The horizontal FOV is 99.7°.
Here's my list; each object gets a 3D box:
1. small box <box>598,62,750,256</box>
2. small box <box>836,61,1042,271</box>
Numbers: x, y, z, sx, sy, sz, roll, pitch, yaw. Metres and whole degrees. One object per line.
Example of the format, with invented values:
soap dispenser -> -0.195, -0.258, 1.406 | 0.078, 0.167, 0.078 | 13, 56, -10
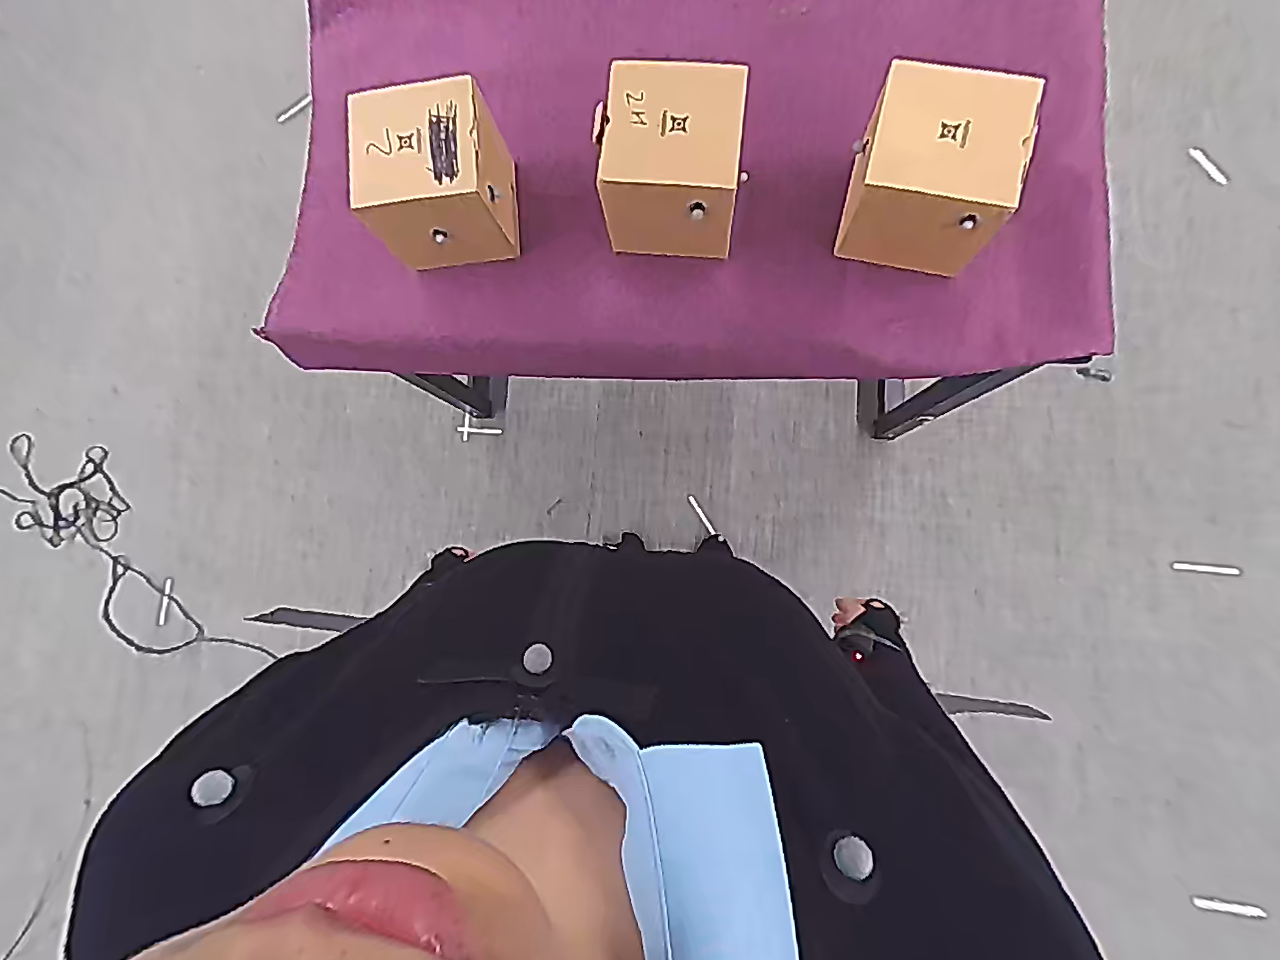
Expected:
small box -> 0.049, -0.431, 0.750 | 0.179, 0.176, 0.168 | 6, 84, 6
small box -> 0.376, -0.400, 0.714 | 0.179, 0.176, 0.168 | 14, 85, 7
